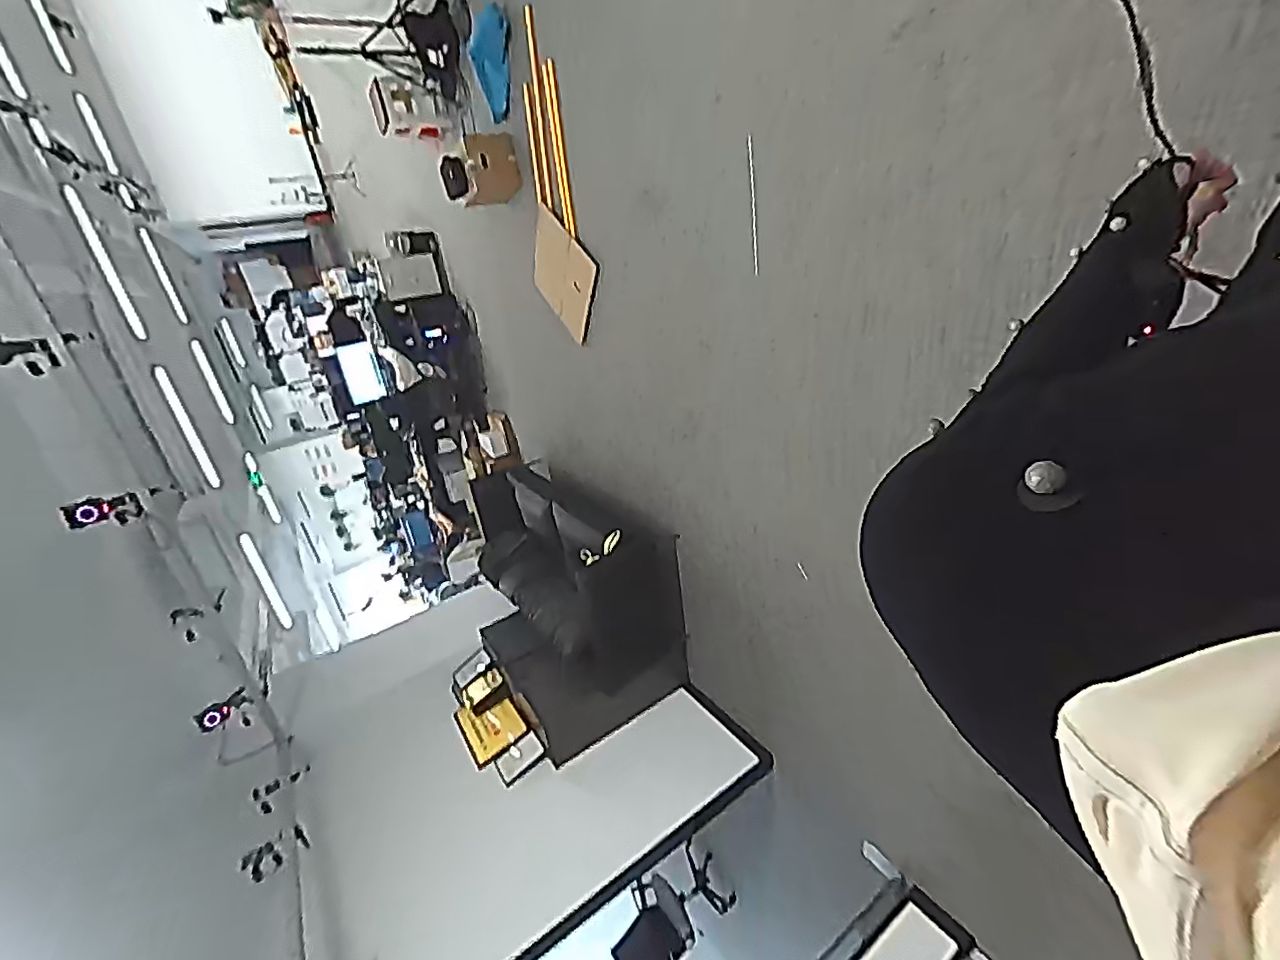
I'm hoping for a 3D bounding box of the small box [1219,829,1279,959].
[{"bbox_3d":[1.259,0.803,1.005,0.179,0.176,0.168,37,140,44],"label":"small box"}]
